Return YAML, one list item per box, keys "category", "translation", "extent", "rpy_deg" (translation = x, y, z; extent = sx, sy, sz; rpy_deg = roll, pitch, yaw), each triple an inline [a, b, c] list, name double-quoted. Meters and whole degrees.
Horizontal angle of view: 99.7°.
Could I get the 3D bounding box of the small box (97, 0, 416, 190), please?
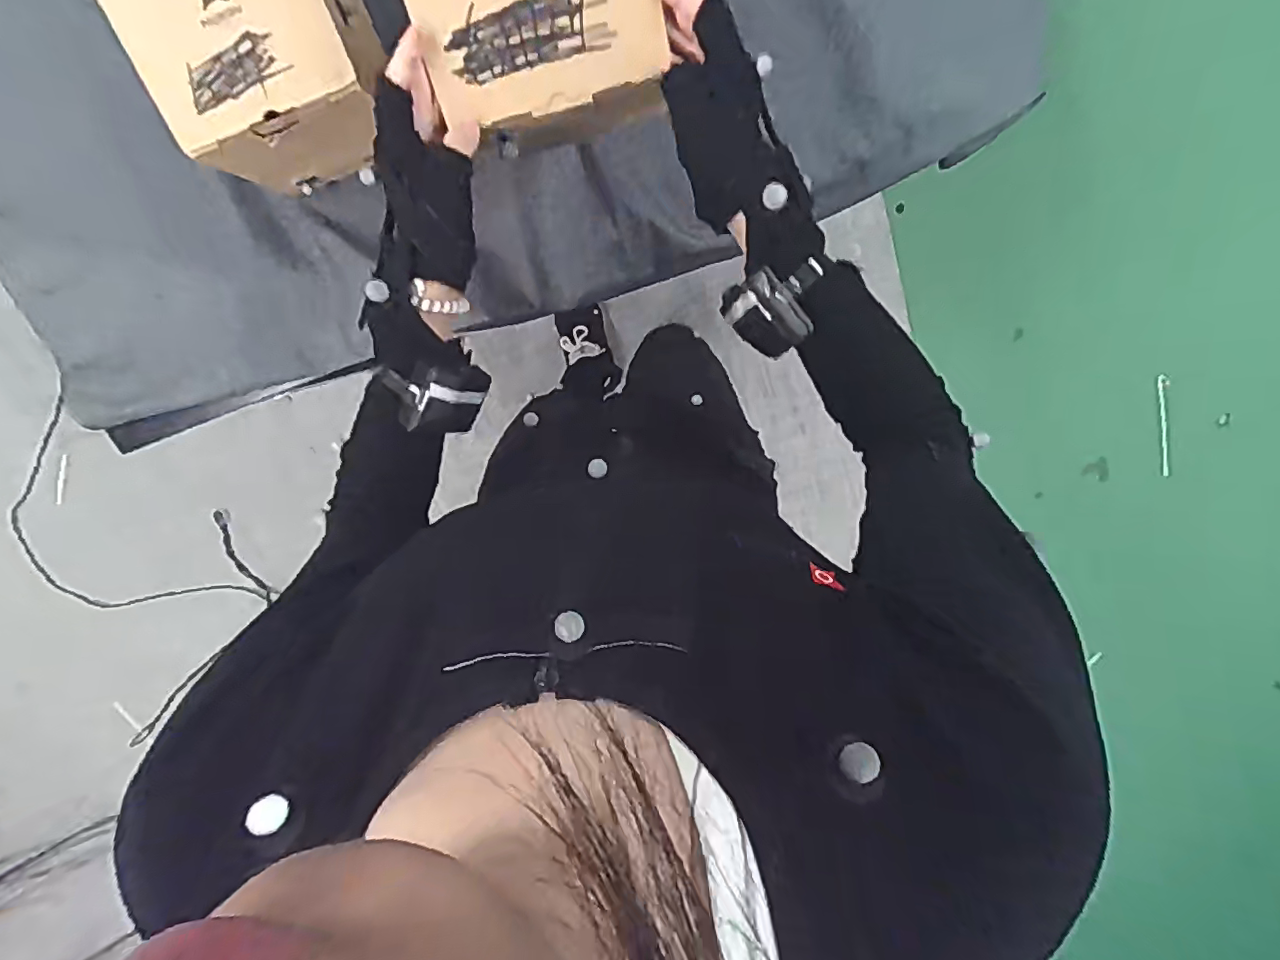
- category: "small box"
  translation: [-0.343, -0.397, 0.510]
  extent: [0.168, 0.176, 0.179]
  rpy_deg: [-21, 107, 2]
